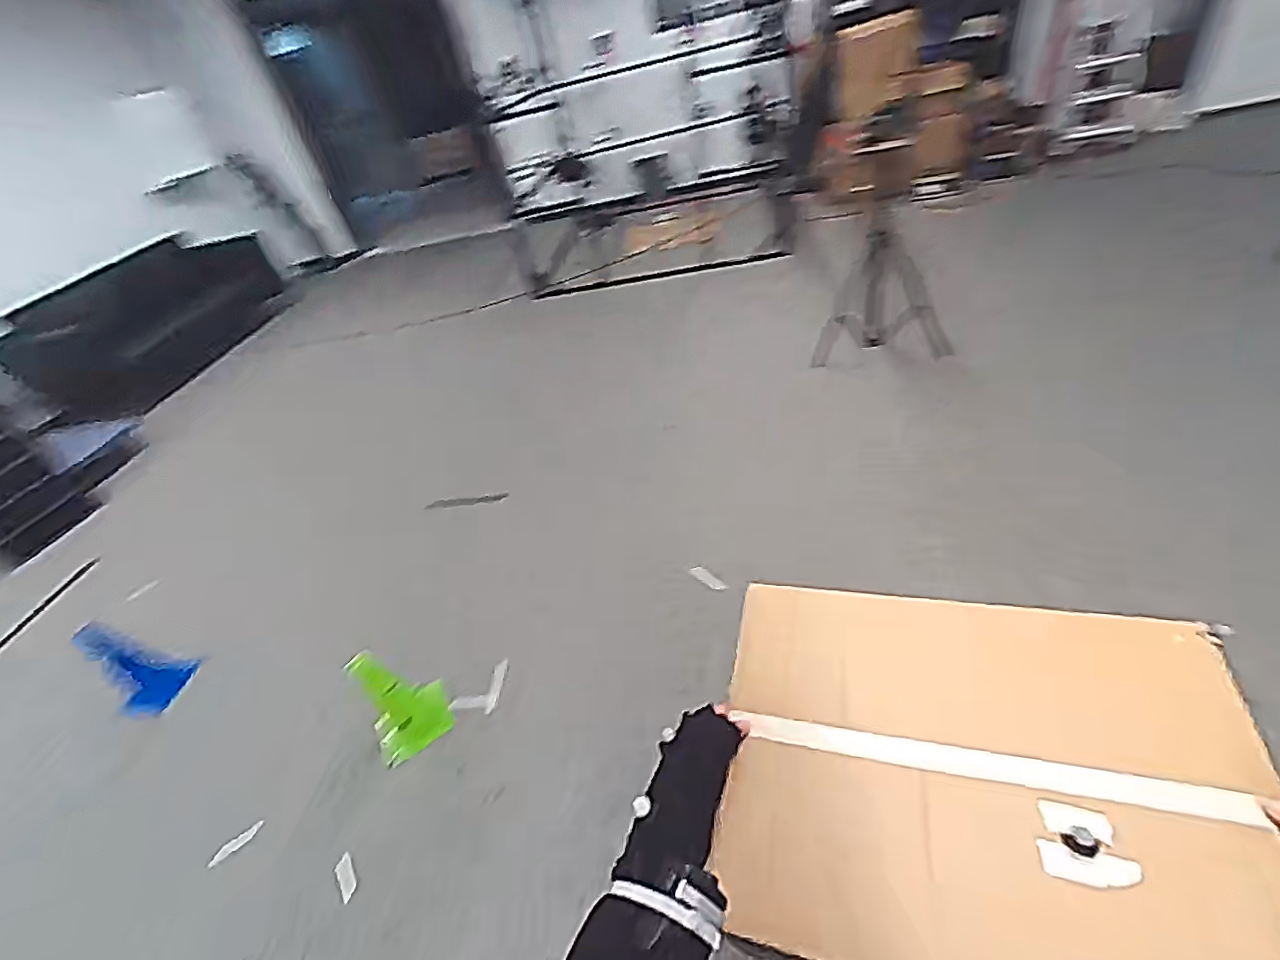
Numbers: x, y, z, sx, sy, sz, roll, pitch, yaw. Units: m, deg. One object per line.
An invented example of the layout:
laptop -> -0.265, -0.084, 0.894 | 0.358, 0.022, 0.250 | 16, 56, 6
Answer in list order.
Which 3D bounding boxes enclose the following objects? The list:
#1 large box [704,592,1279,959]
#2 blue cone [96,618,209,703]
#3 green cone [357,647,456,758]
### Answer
large box -> 0.301, 0.343, 0.560 | 0.408, 0.320, 0.320 | 1, 47, 19
blue cone -> -1.804, 0.633, 1.953 | 0.193, 0.380, 0.192 | -3, 39, 14
green cone -> -0.726, 0.618, 1.607 | 0.200, 0.368, 0.202 | -29, 40, -18
